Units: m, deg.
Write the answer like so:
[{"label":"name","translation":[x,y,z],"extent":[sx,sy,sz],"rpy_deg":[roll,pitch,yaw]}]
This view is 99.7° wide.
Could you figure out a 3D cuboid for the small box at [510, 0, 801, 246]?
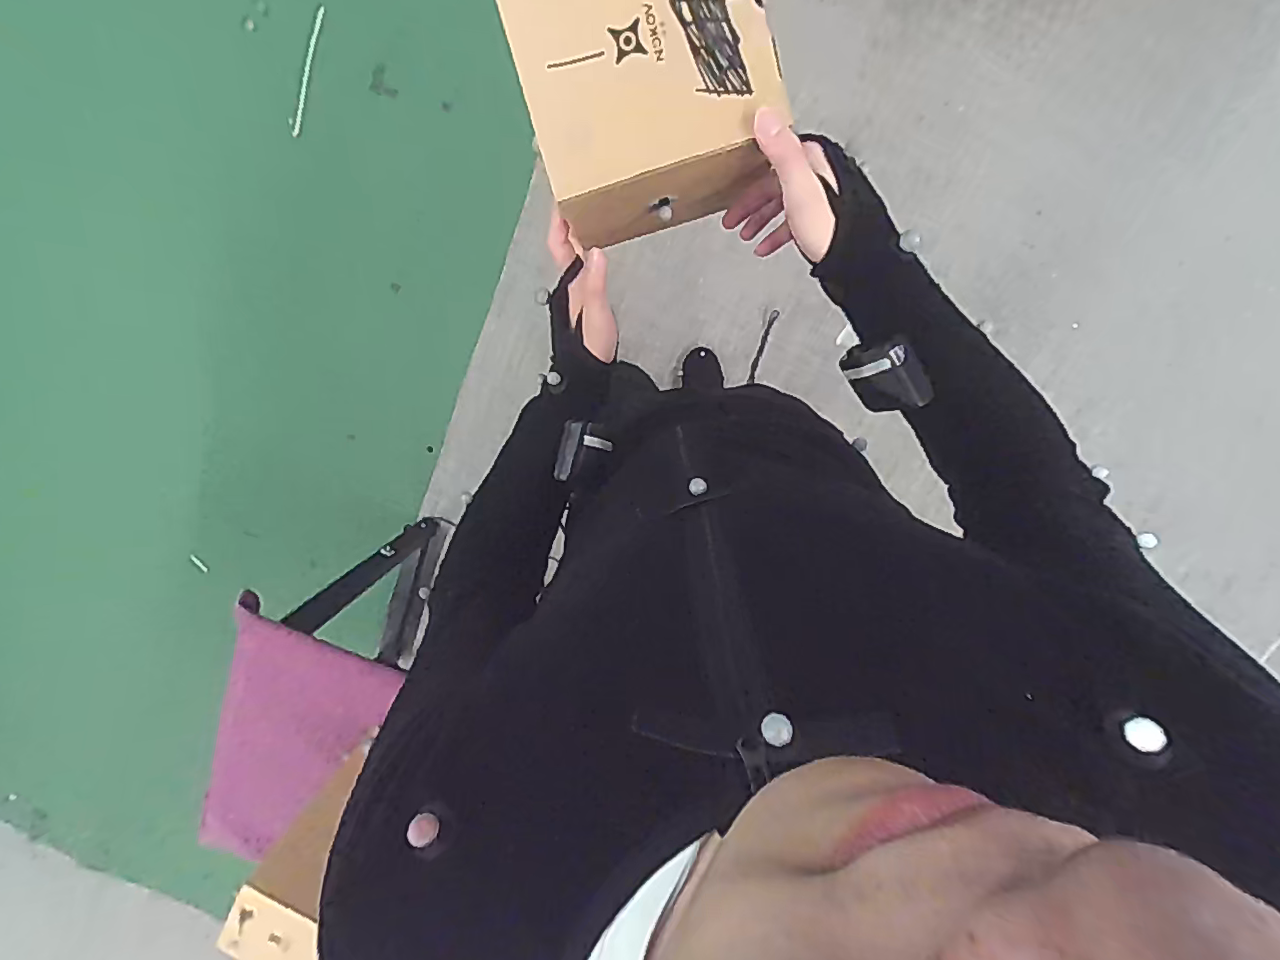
[{"label":"small box","translation":[0.011,-0.311,0.441],"extent":[0.179,0.176,0.168],"rpy_deg":[-14,101,5]}]

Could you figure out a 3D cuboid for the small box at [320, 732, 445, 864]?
[{"label":"small box","translation":[-0.512,0.629,1.046],"extent":[0.179,0.176,0.168],"rpy_deg":[33,107,-4]}]

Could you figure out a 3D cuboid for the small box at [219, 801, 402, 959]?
[{"label":"small box","translation":[-0.528,0.676,0.890],"extent":[0.179,0.176,0.168],"rpy_deg":[30,107,-5]}]
